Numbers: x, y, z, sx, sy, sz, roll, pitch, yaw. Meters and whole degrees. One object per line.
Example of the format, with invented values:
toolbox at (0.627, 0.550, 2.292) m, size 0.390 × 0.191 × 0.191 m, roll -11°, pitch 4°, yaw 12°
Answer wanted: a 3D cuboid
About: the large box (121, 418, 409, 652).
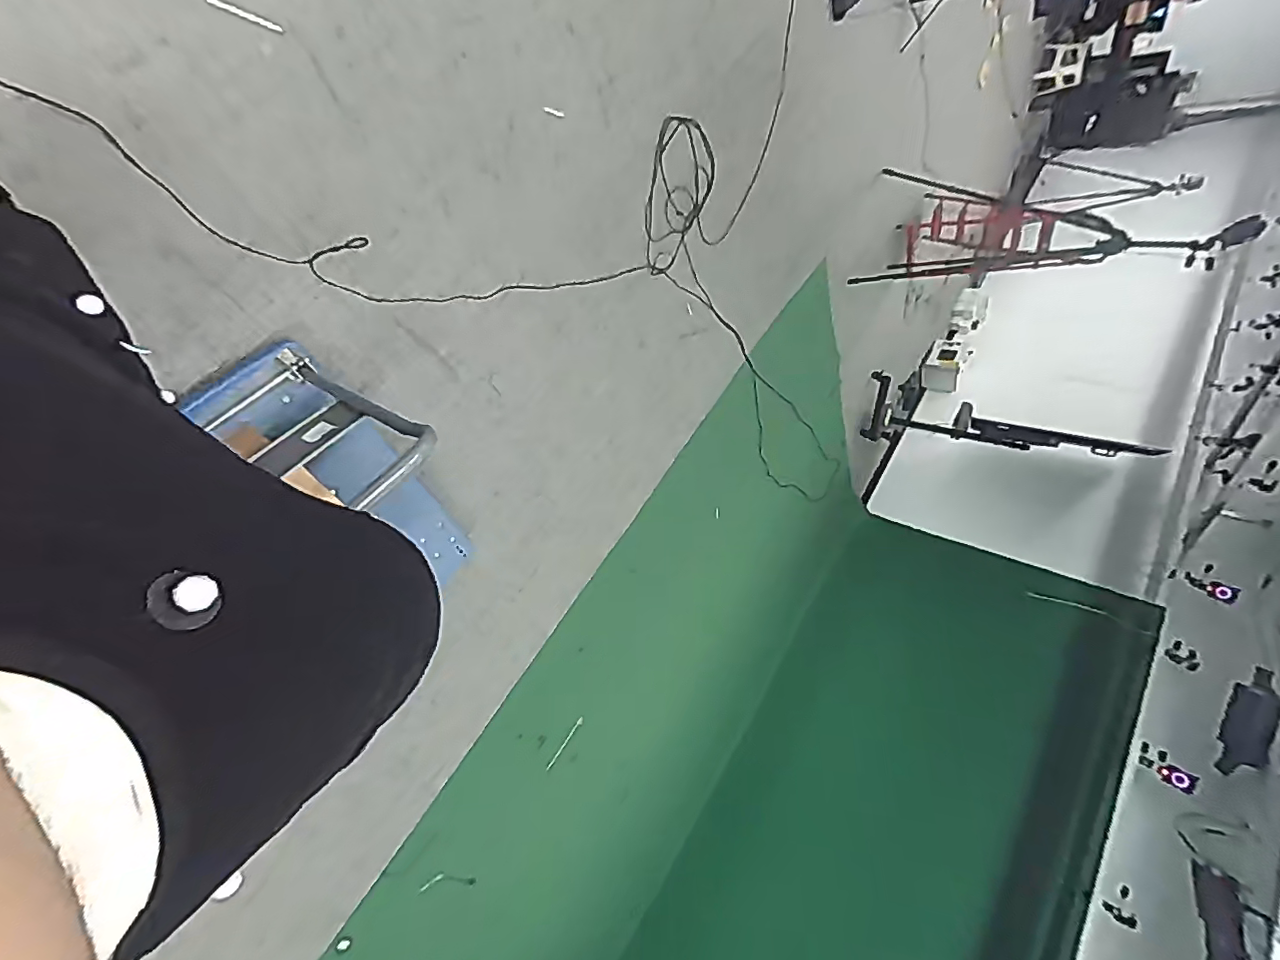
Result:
large box at (-0.843, 0.124, 1.252) m, size 0.320 × 0.320 × 0.408 m, roll -50°, pitch 140°, yaw -23°
